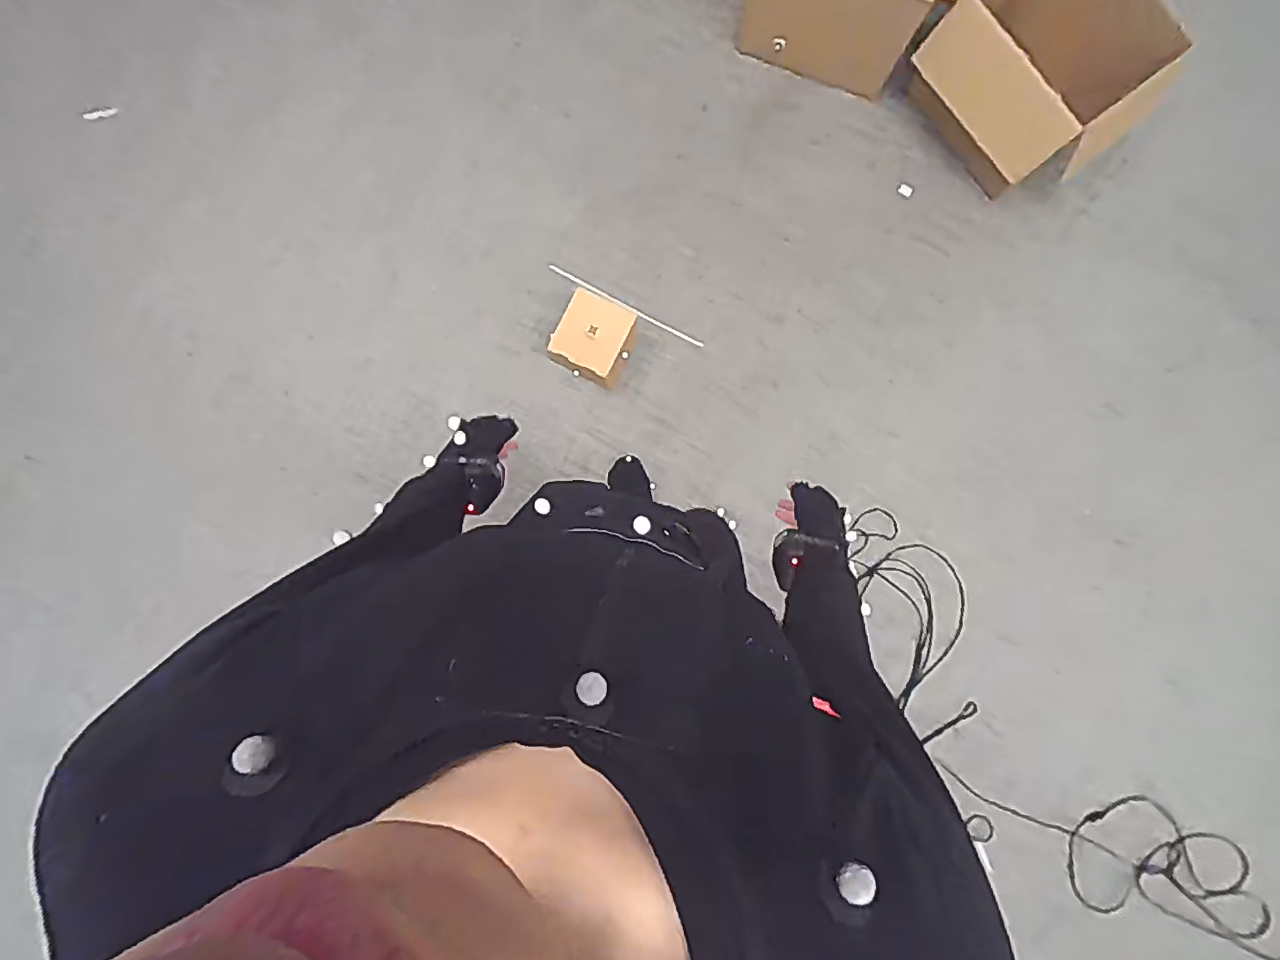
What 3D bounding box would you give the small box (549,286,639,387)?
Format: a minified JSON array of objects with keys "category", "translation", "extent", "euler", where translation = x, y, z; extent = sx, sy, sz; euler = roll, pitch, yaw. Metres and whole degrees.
[{"category":"small box","translation":[-0.112,-0.361,1.395],"extent":[0.168,0.176,0.179],"euler":[27,91,2]}]
